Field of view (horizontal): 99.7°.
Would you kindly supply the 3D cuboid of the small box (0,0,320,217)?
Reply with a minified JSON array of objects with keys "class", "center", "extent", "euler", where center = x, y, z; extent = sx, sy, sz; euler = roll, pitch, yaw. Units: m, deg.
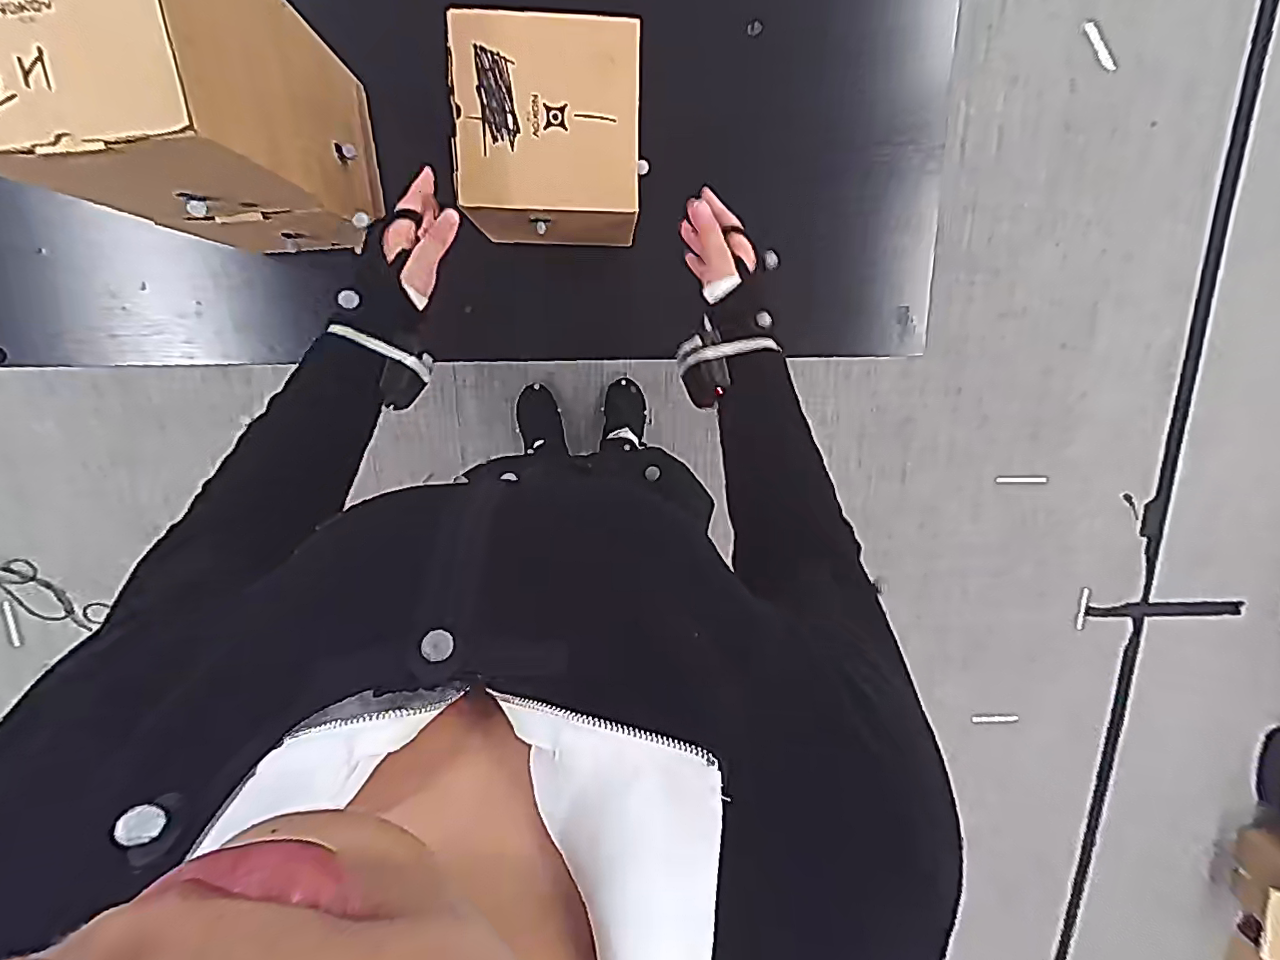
[{"class":"small box","center":[-0.383,-0.322,0.413],"extent":[0.168,0.176,0.179],"euler":[-7,103,-1]}]

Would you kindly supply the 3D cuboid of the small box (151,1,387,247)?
[{"class":"small box","center":[-0.392,-0.354,0.575],"extent":[0.168,0.176,0.179],"euler":[-5,103,-1]}]

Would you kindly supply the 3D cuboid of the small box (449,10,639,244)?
[{"class":"small box","center":[-0.094,-0.363,0.590],"extent":[0.179,0.176,0.168],"euler":[0,103,-4]}]
